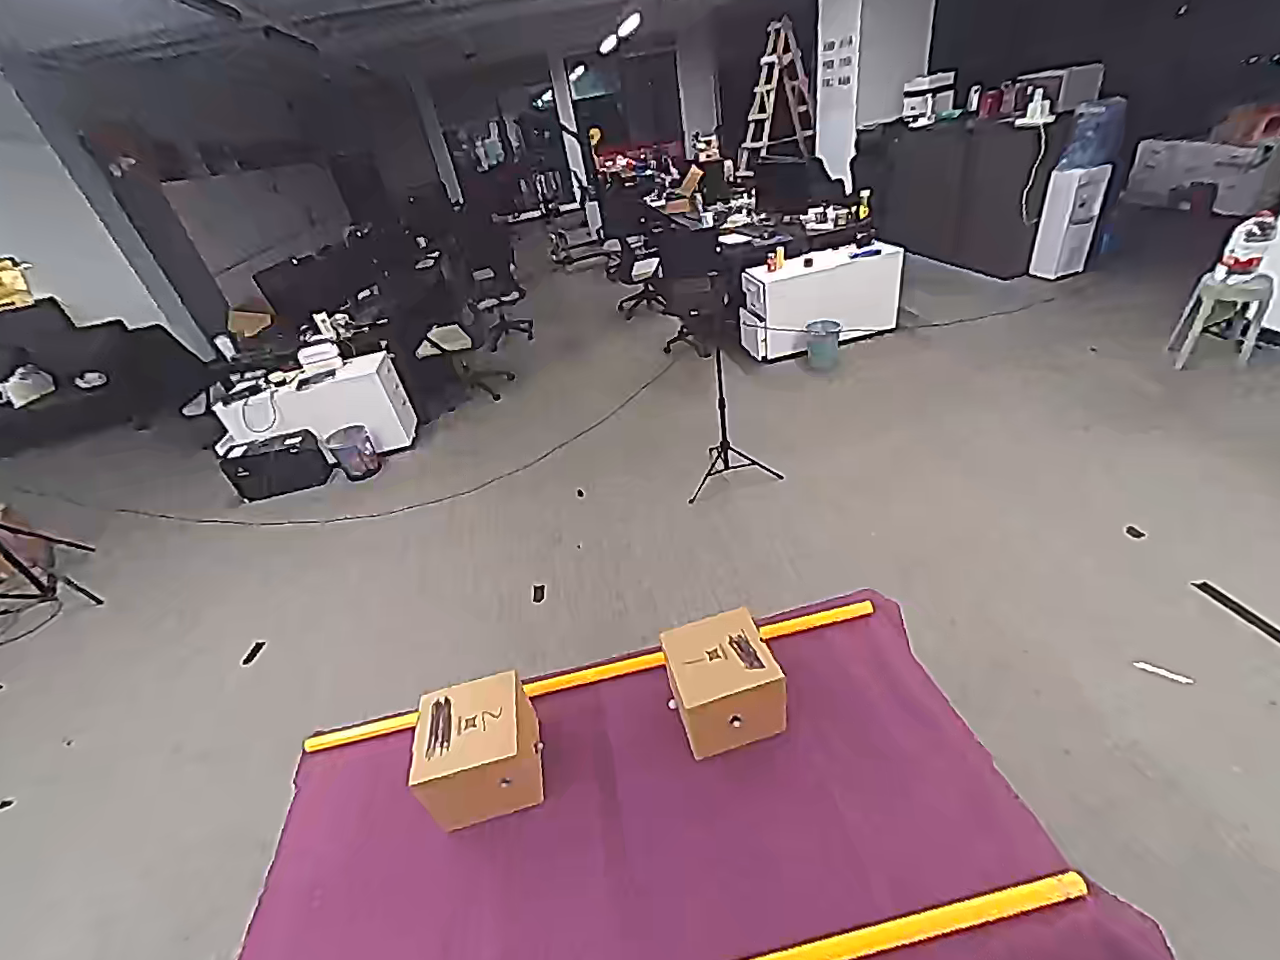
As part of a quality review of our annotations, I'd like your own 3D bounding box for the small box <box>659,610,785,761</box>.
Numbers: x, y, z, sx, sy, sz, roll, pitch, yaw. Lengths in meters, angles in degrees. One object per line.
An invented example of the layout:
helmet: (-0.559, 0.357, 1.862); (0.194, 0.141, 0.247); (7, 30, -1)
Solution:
small box: (0.148, 0.372, 0.981); (0.179, 0.176, 0.168); (-17, 35, -5)
